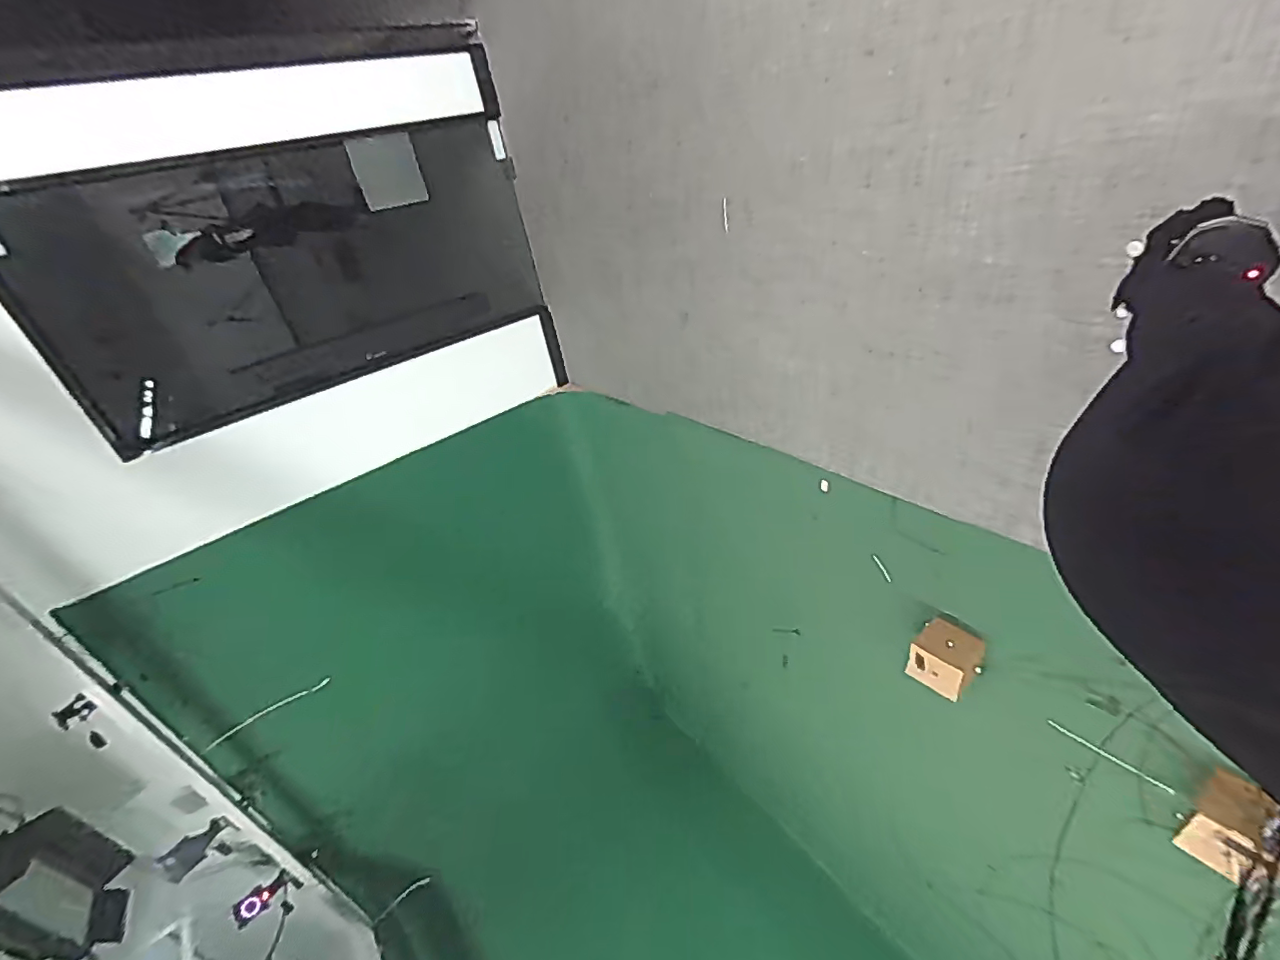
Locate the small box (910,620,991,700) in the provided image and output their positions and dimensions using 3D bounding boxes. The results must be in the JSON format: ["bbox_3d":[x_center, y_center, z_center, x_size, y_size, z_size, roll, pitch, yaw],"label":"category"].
[{"bbox_3d":[1.077,0.614,1.877,0.179,0.176,0.168,29,140,43],"label":"small box"}]
